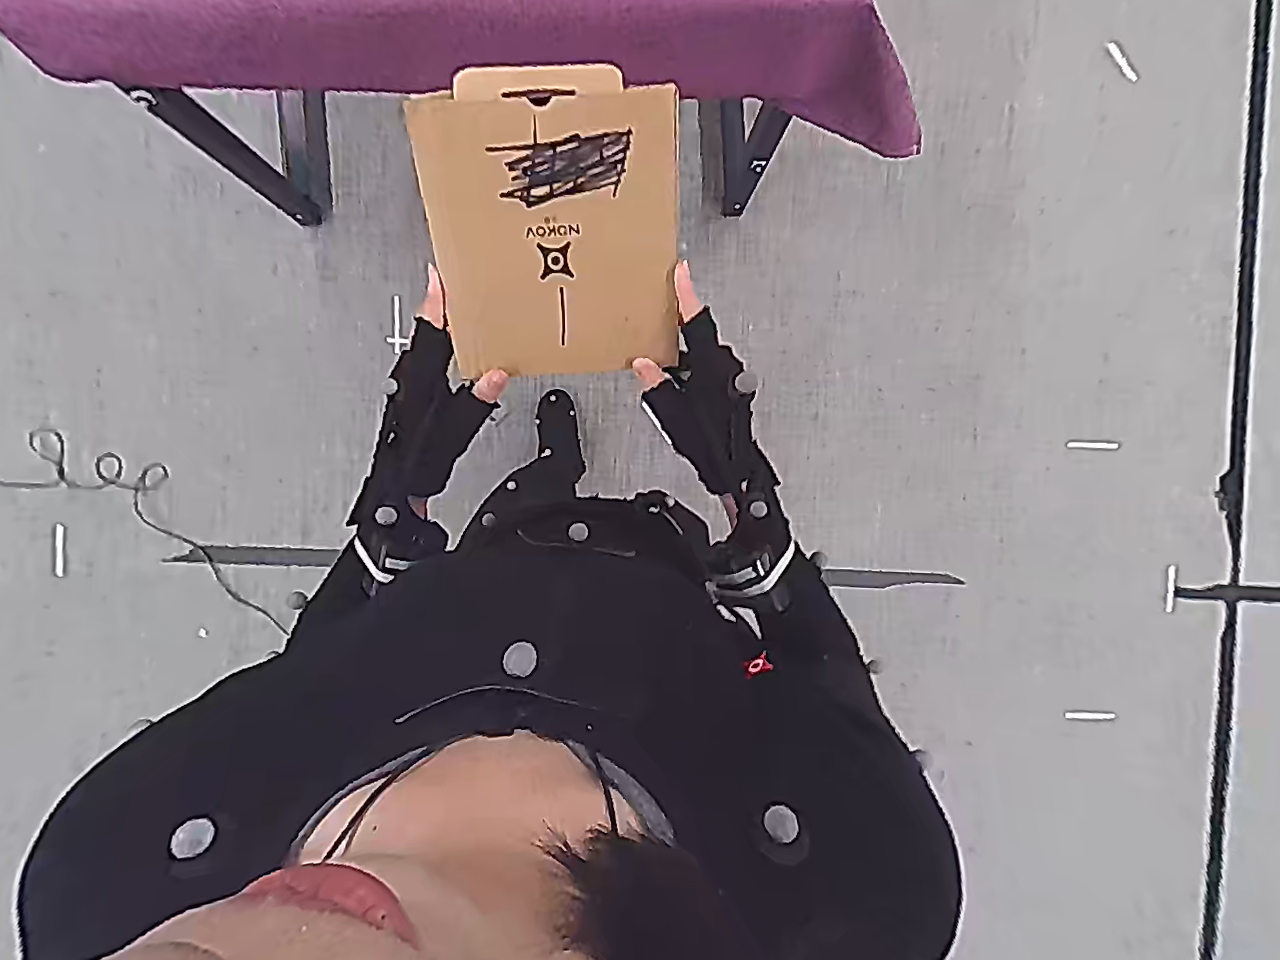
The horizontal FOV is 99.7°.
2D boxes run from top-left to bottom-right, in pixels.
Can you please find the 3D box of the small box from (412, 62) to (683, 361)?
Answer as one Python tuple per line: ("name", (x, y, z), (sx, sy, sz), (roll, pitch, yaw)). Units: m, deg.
("small box", (-0.058, -0.202, 0.430), (0.168, 0.176, 0.179), (-3, 116, -2))
